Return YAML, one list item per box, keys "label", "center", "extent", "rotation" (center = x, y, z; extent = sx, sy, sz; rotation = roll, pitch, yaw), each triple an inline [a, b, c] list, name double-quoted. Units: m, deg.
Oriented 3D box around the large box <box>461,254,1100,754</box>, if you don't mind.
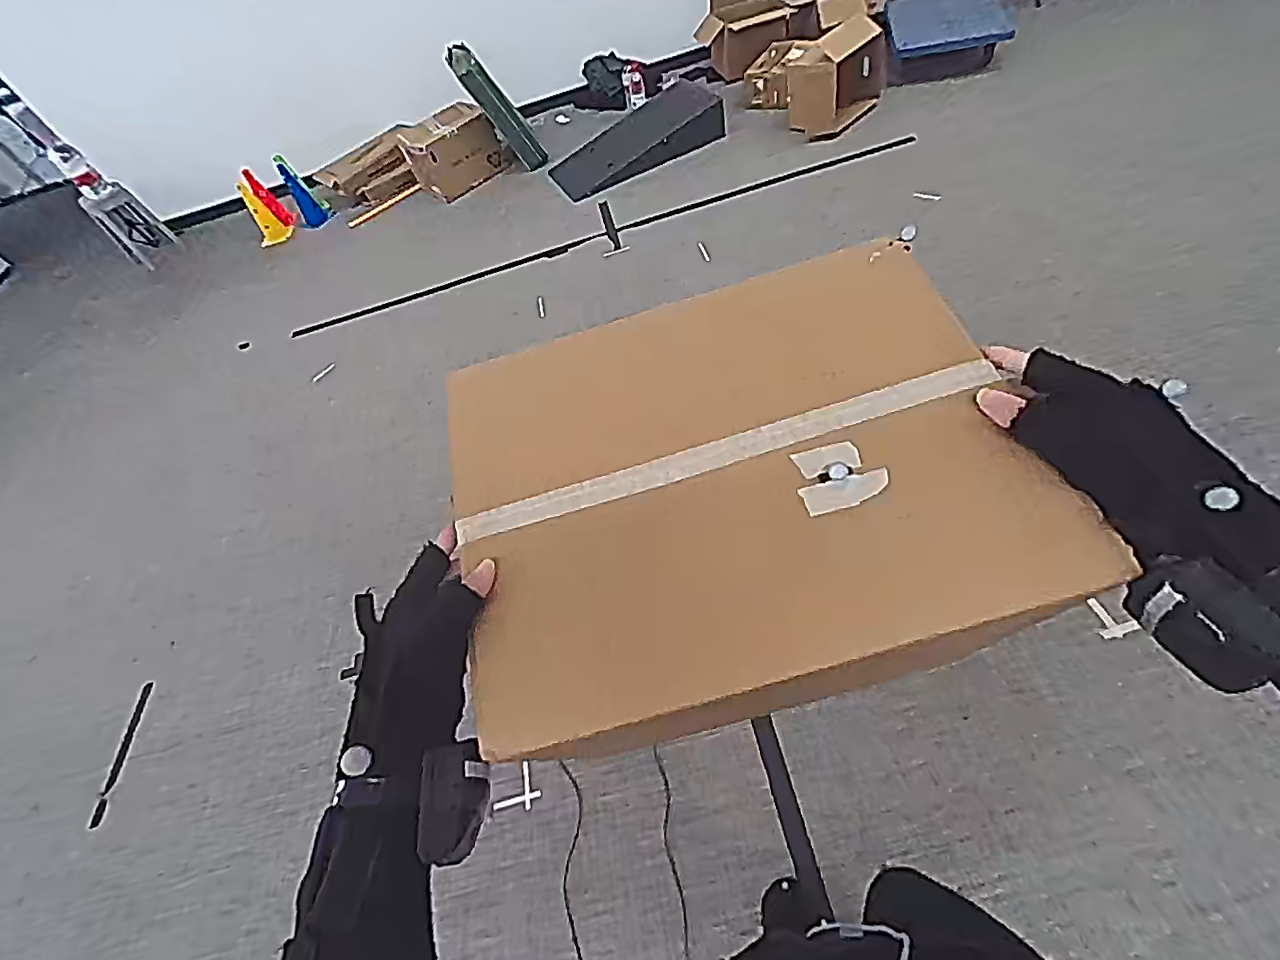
- label: "large box"
  center: [0.086, 0.053, 0.541]
  extent: [0.408, 0.320, 0.320]
  rotation: [-17, 62, 1]
